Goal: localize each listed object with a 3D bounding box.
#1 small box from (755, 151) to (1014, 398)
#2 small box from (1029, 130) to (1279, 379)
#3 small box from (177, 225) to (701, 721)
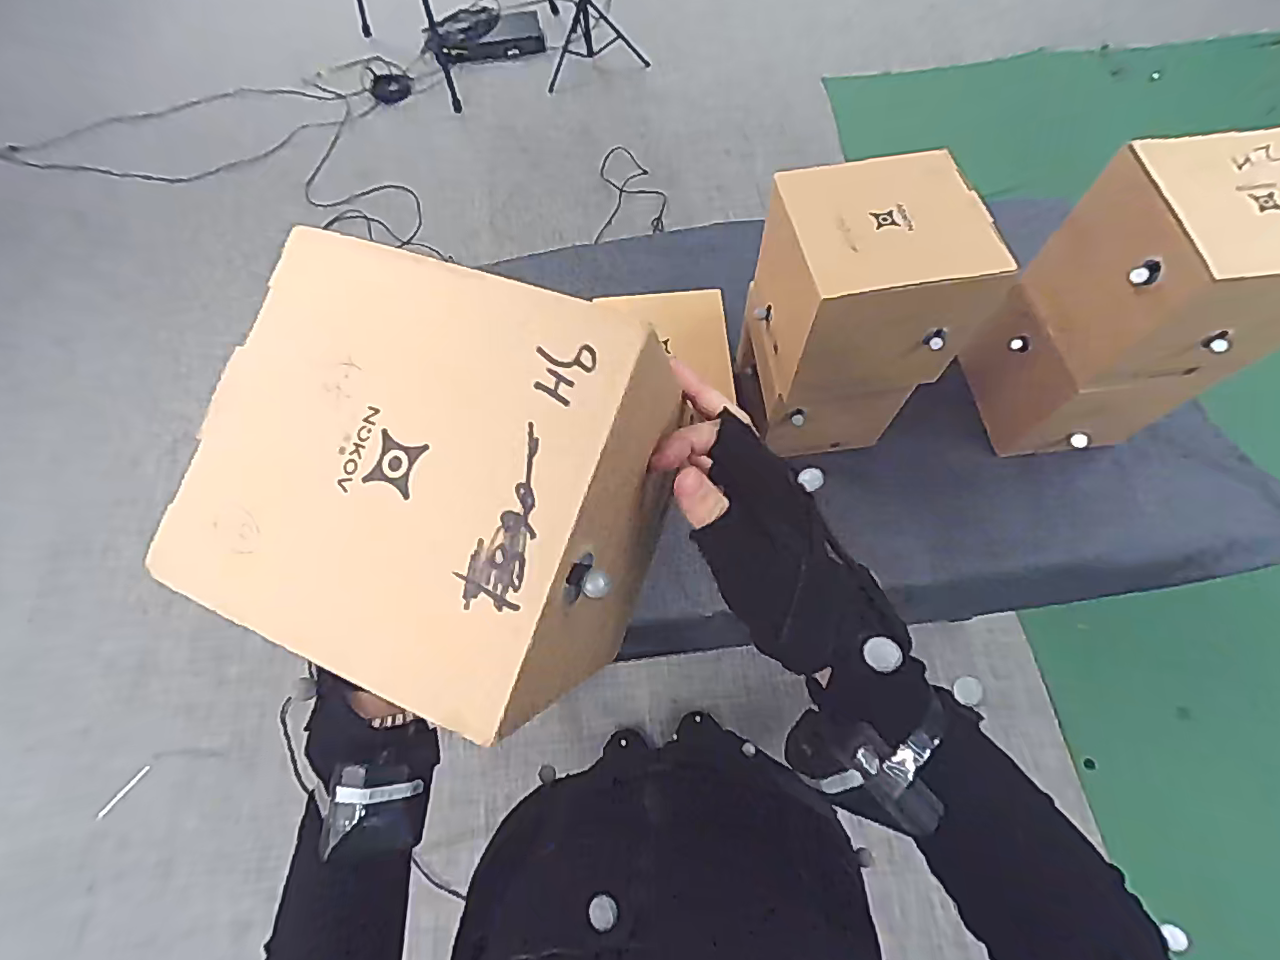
[{"bbox_3d":[0.234,-0.206,0.572,0.179,0.176,0.168,-8,65,0],"label":"small box"},{"bbox_3d":[0.555,-0.218,0.557,0.168,0.176,0.179,-4,66,1],"label":"small box"},{"bbox_3d":[-0.080,-0.002,0.299,0.179,0.176,0.168,20,87,14],"label":"small box"}]
